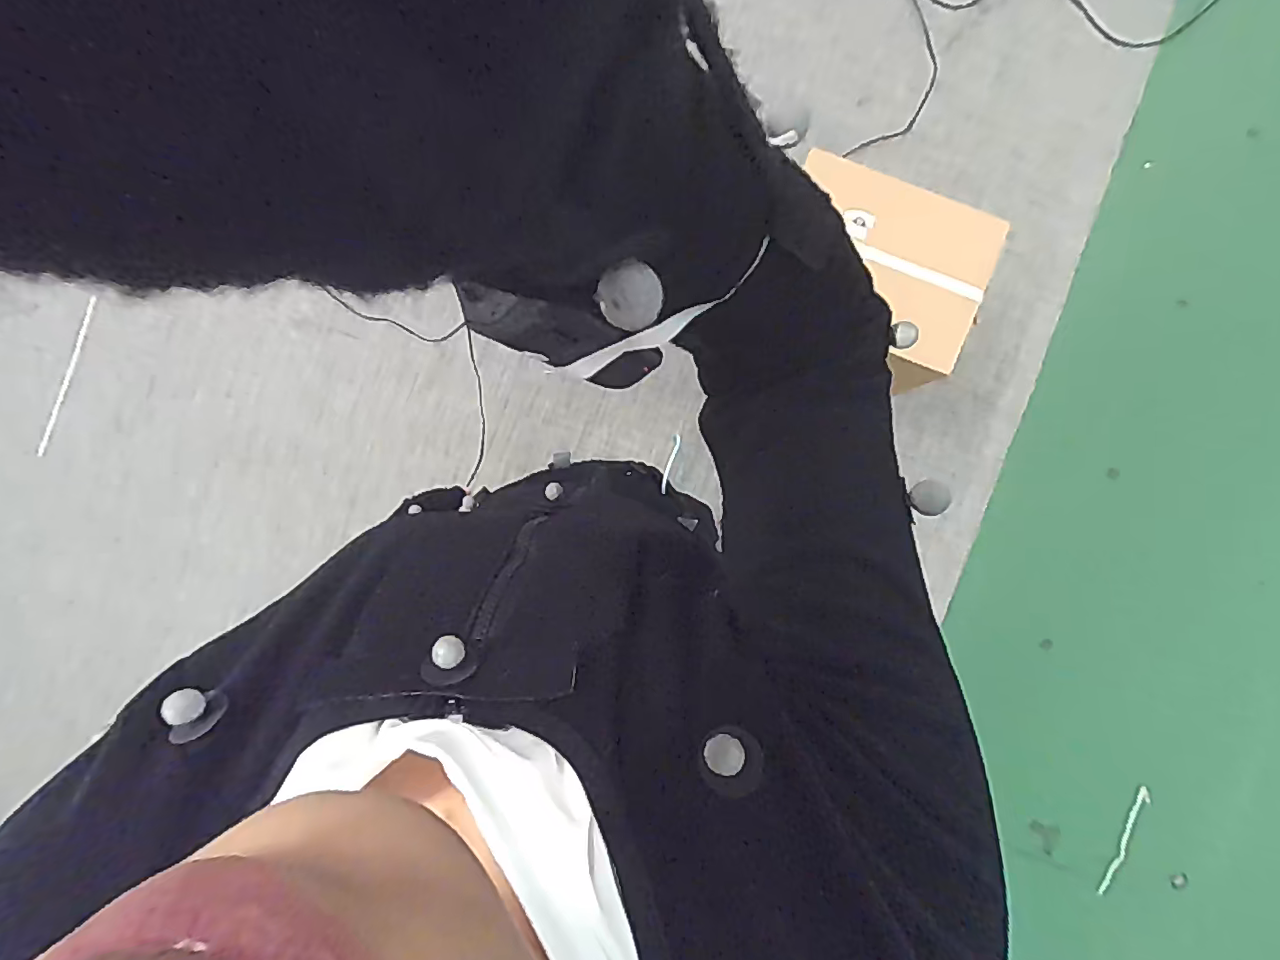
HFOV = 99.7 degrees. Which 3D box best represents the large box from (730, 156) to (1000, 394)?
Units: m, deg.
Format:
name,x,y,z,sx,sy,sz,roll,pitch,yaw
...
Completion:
name,x,y,z,sx,sy,sz,roll,pitch,yaw
large box,0.455,-0.415,1.186,0.408,0.320,0.320,22,90,2
